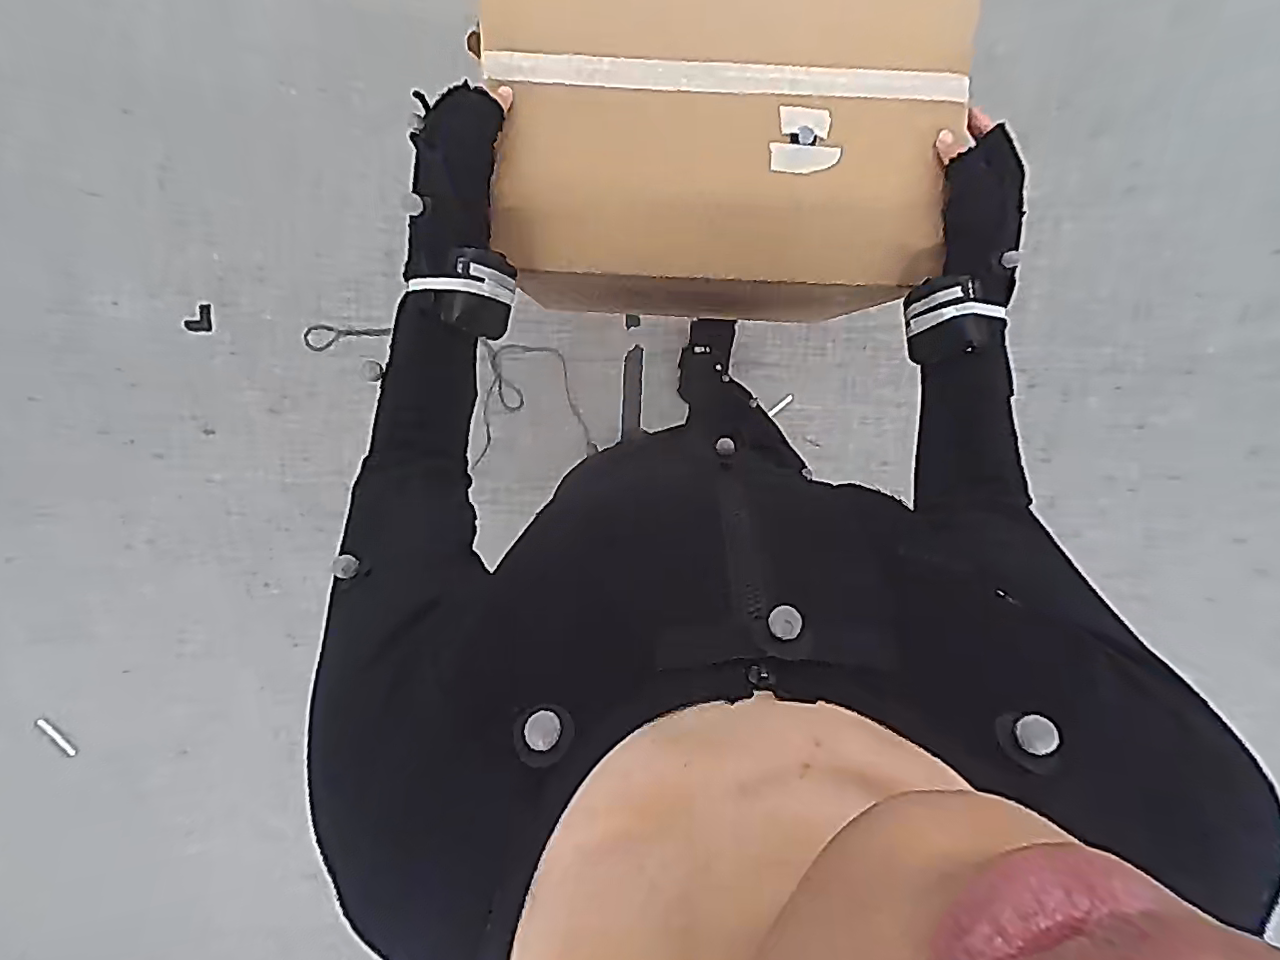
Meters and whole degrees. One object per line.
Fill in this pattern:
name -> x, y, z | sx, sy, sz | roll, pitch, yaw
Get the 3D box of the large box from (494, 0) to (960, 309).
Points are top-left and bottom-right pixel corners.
large box -> 0.068, -0.376, 0.615 | 0.408, 0.320, 0.320 | 2, 102, -2
